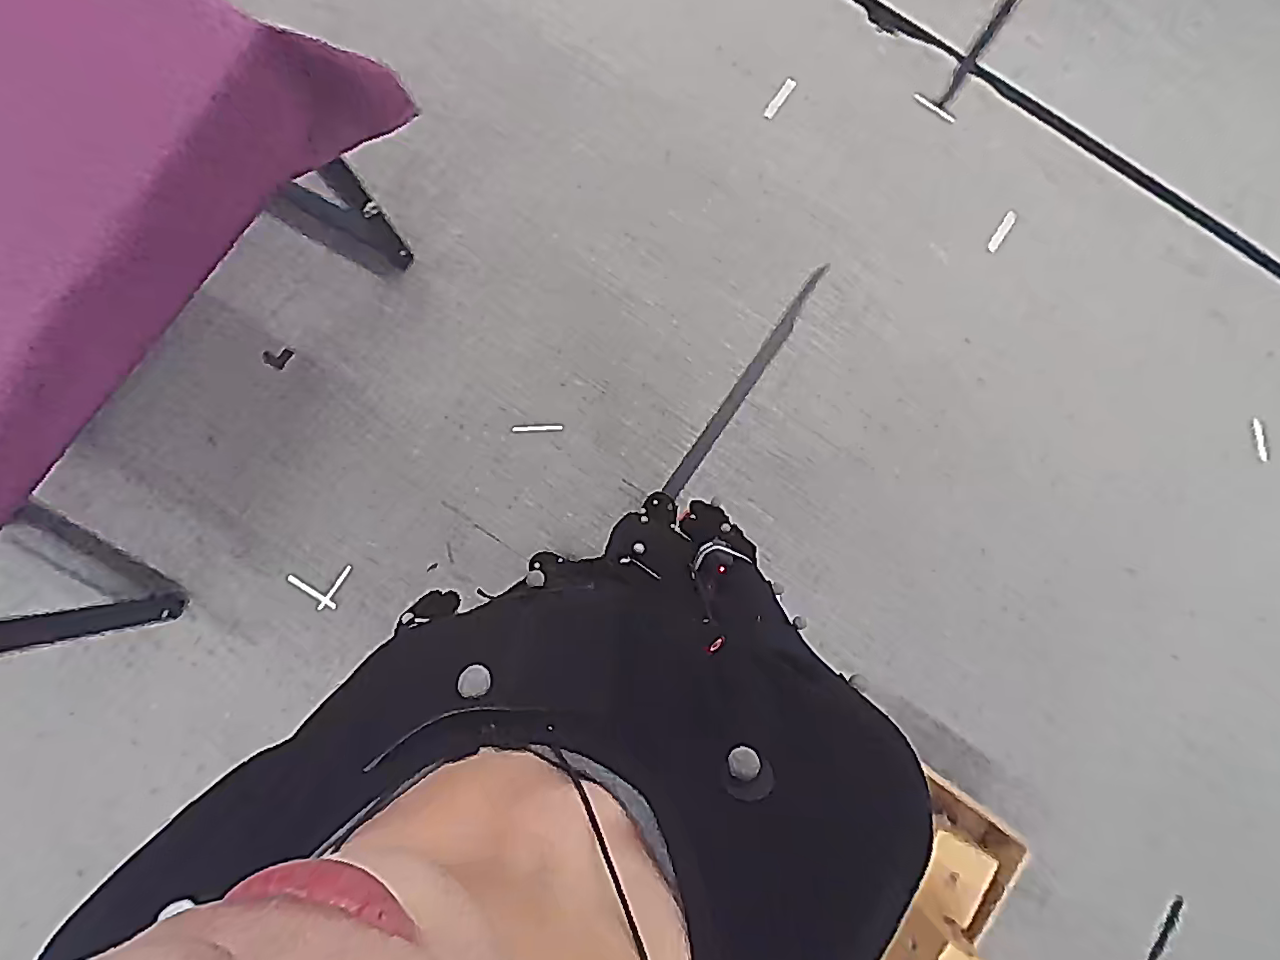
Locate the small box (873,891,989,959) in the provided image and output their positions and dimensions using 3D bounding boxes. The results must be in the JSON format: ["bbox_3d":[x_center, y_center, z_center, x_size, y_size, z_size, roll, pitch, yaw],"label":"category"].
[{"bbox_3d":[0.652,1.070,1.189,0.168,0.176,0.179,39,82,3],"label":"small box"}]
